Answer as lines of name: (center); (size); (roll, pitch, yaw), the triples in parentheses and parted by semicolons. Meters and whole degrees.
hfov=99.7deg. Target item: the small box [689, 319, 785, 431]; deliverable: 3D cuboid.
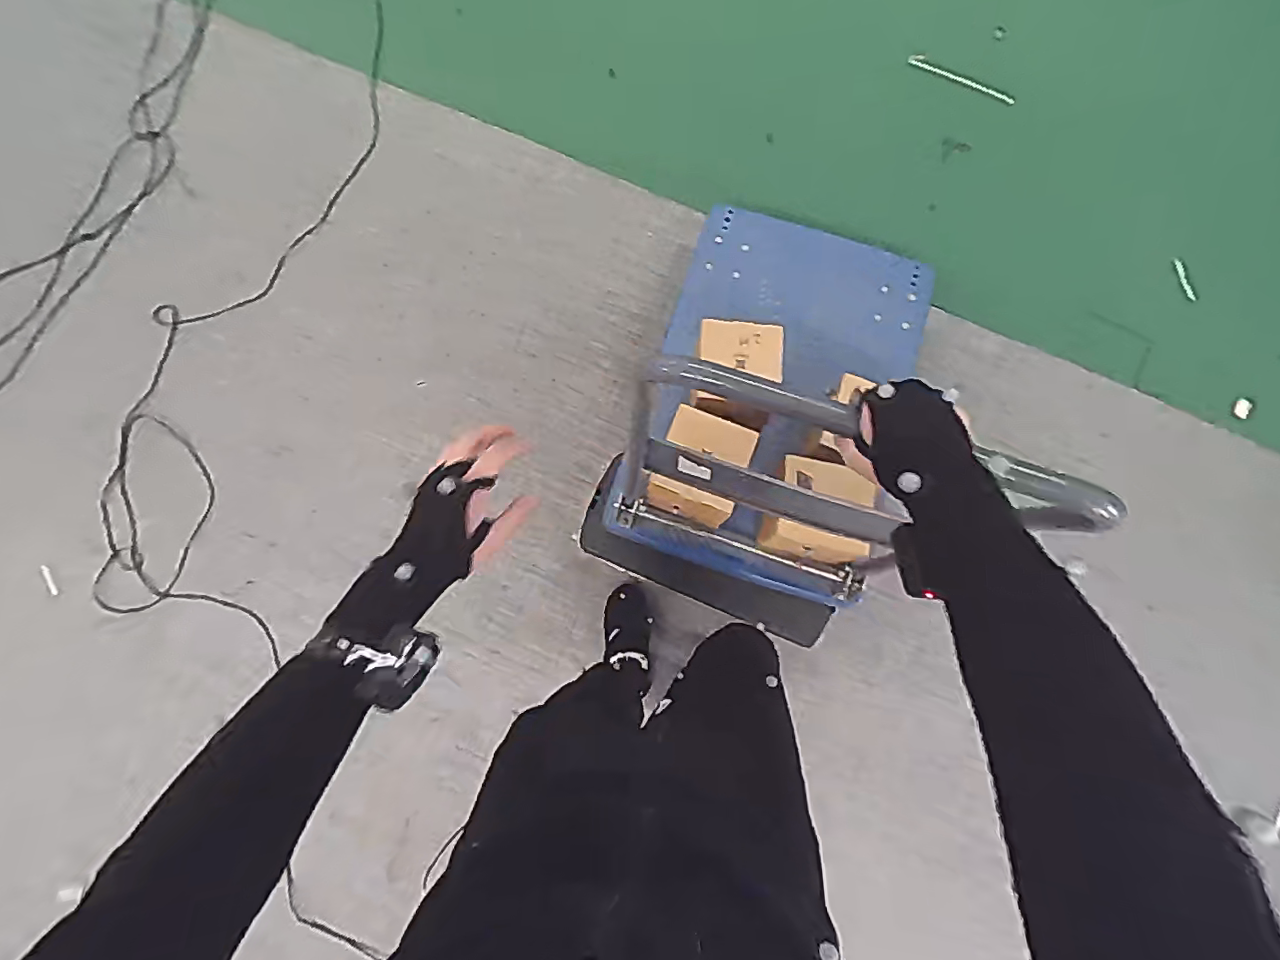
small box: (0.200, -0.214, 1.150); (0.168, 0.176, 0.179); (7, 76, -1)
